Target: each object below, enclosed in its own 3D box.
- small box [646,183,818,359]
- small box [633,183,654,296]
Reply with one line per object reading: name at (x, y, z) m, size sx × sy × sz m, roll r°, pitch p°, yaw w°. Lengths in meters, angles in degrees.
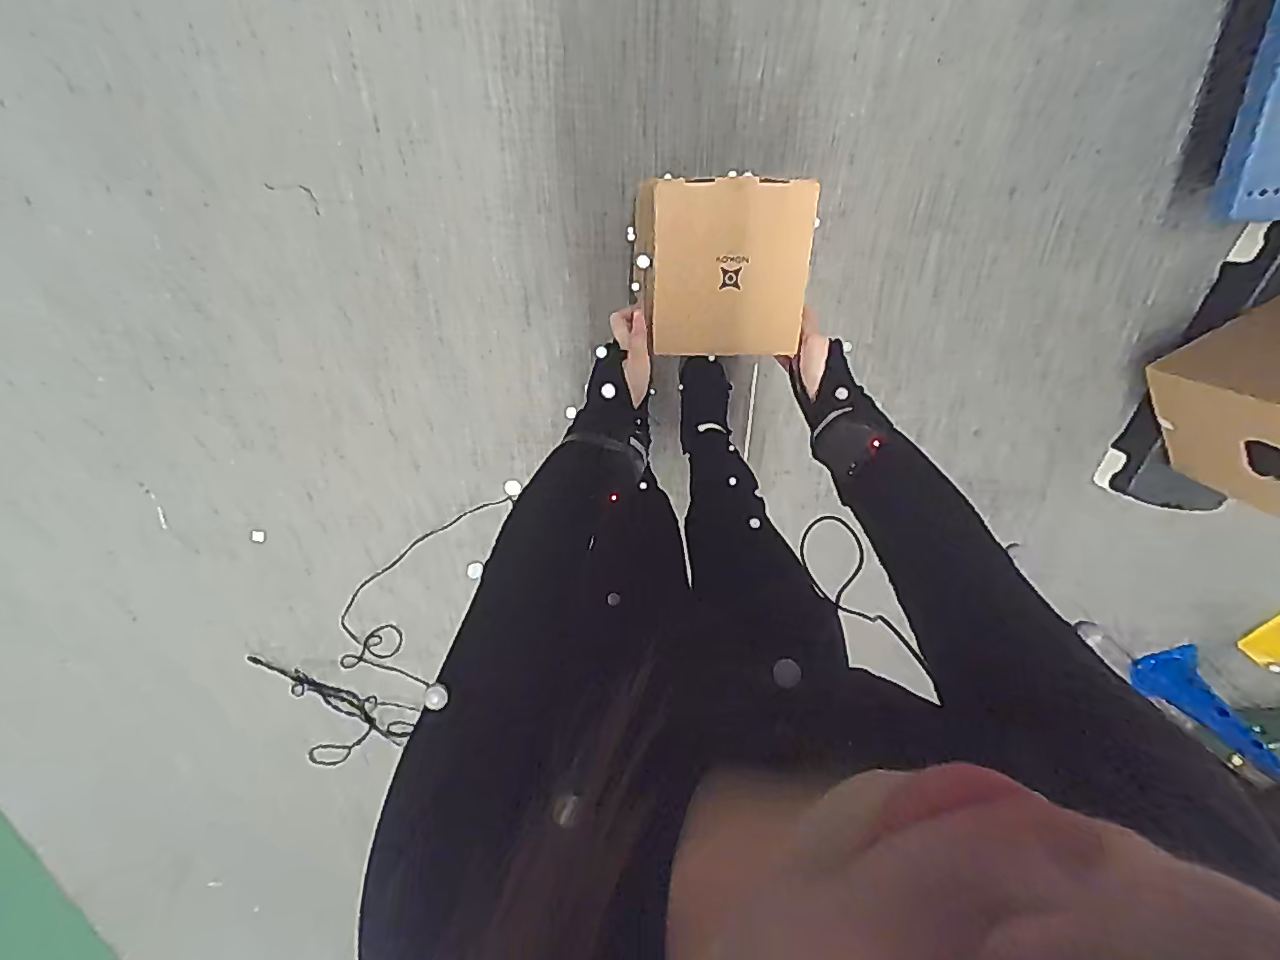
small box at (0.093, -0.250, 0.640) m, size 0.168 × 0.176 × 0.179 m, roll -1°, pitch 116°, yaw -1°
small box at (0.078, -0.406, 0.926) m, size 0.179 × 0.176 × 0.168 m, roll 1°, pitch 117°, yaw -3°
